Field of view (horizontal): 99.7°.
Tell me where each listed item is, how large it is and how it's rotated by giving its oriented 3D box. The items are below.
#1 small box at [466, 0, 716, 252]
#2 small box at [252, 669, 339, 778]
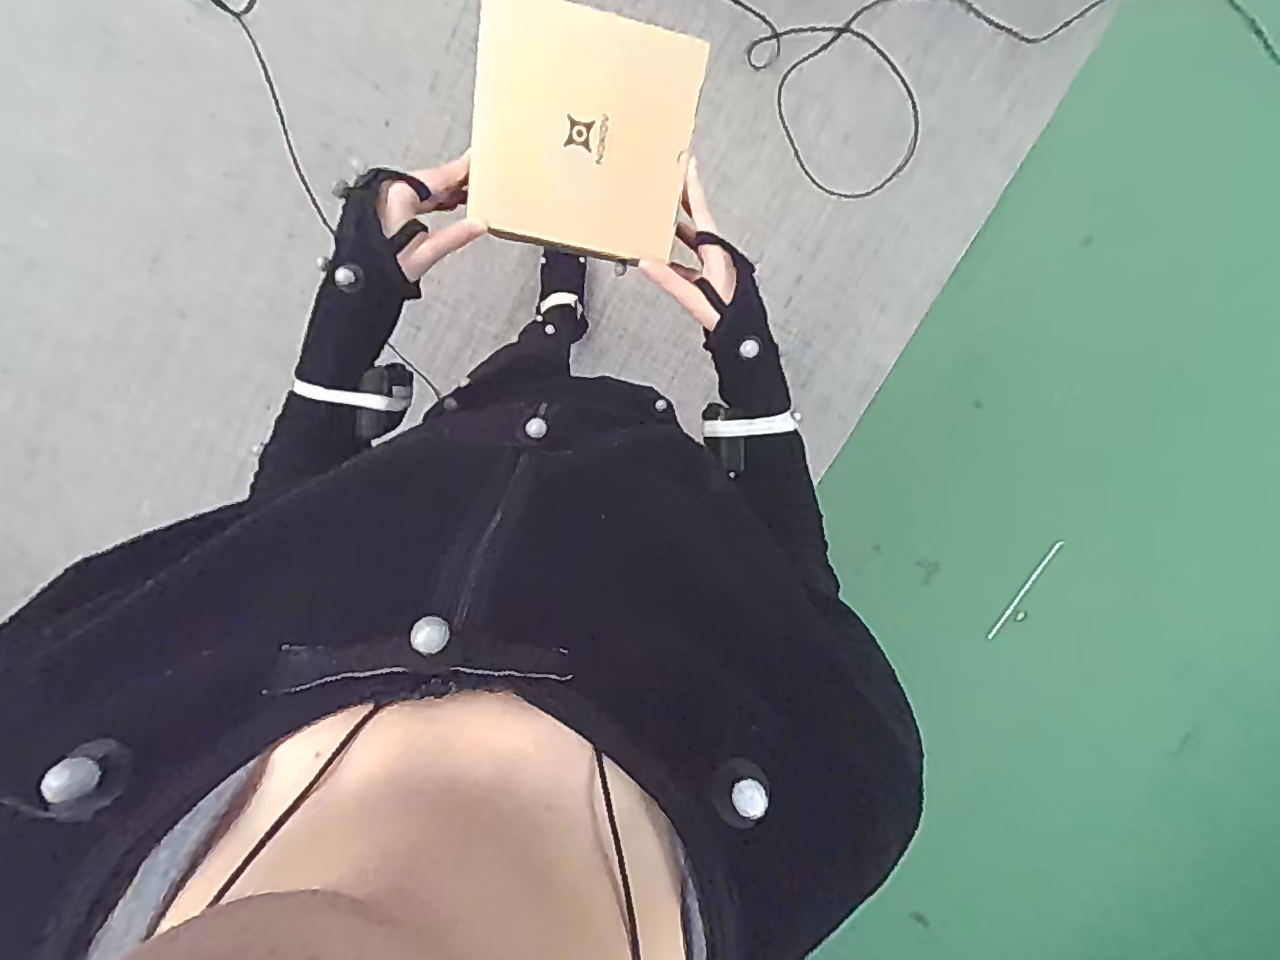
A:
[{"bbox_3d":[-0.050,-0.317,0.502,0.179,0.176,0.168,9,109,-10],"label":"small box"},{"bbox_3d":[-0.956,0.654,1.466,0.168,0.176,0.179,29,100,-13],"label":"small box"}]
